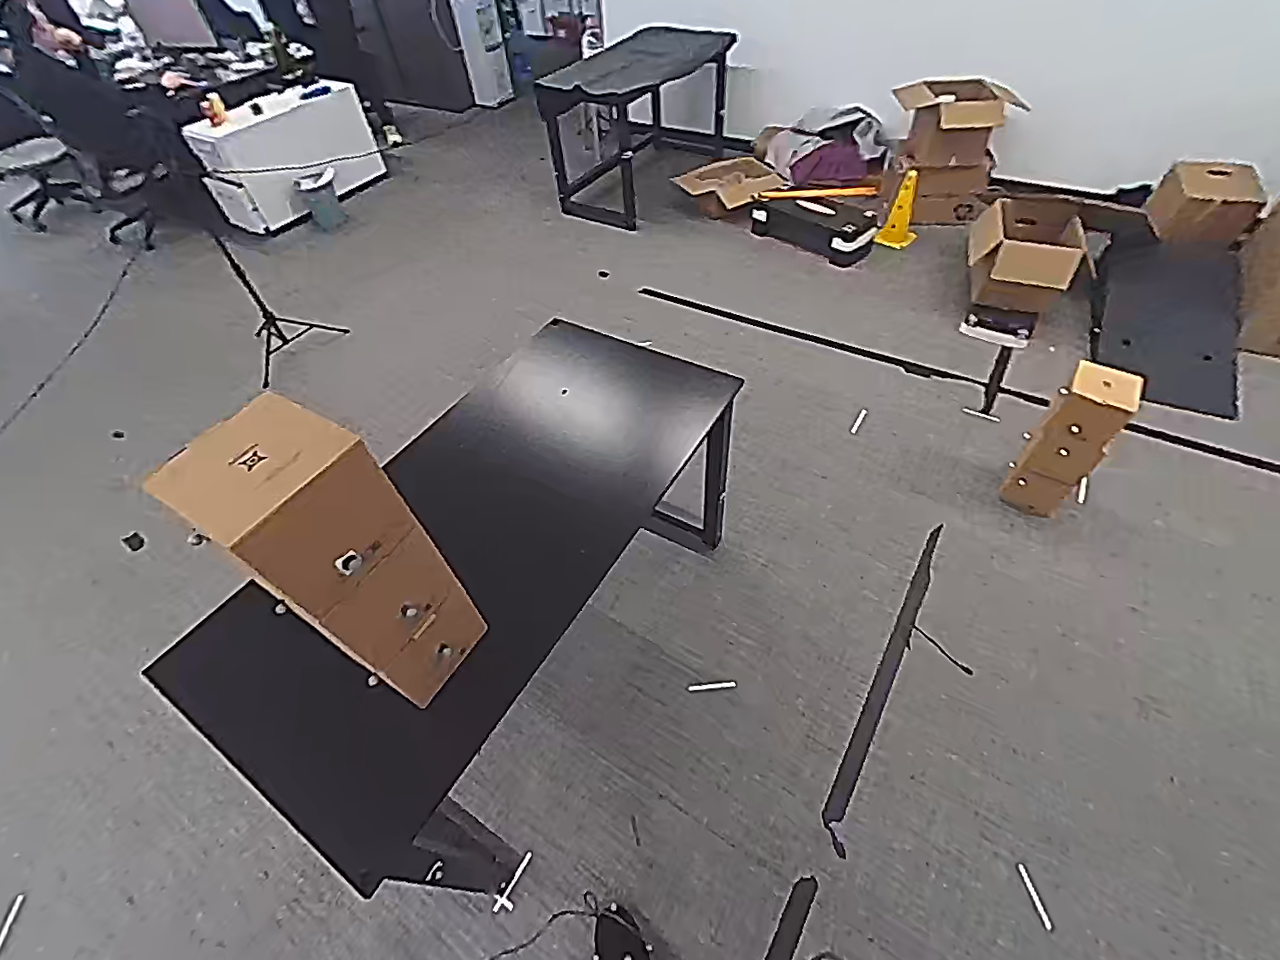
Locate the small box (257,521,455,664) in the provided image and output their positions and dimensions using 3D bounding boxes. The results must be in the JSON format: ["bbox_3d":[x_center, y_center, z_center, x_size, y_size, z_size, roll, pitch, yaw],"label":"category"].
[{"bbox_3d":[-0.400,0.132,0.767,0.179,0.176,0.168,23,56,22],"label":"small box"}]

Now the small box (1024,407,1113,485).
[{"bbox_3d":[1.395,-0.110,1.761,0.179,0.176,0.168,25,57,21],"label":"small box"}]

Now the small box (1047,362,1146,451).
[{"bbox_3d":[1.380,-0.222,1.643,0.168,0.176,0.179,27,58,23],"label":"small box"}]

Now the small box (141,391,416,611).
[{"bbox_3d":[-0.410,0.028,0.642,0.179,0.176,0.168,23,57,21],"label":"small box"}]

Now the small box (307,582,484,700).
[{"bbox_3d":[-0.388,0.238,0.893,0.179,0.176,0.168,23,55,21],"label":"small box"}]
